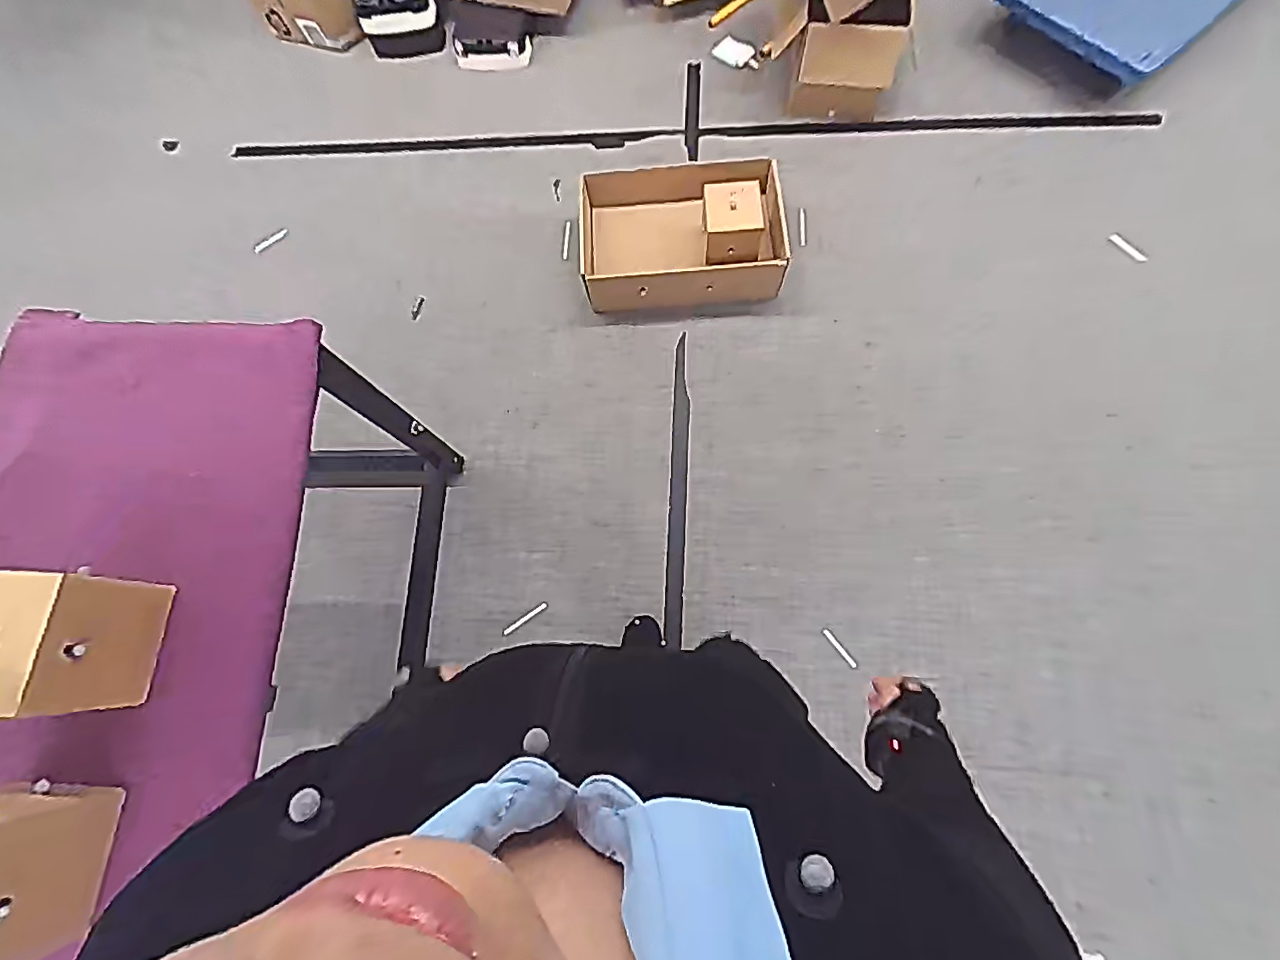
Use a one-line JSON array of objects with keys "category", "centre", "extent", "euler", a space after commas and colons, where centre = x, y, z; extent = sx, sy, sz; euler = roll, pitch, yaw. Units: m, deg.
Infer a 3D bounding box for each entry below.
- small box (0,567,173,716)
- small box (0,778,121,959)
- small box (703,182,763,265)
[{"category": "small box", "centre": [-0.814, 0.220, 0.755], "extent": [0.168, 0.176, 0.179], "euler": [2, 75, 4]}, {"category": "small box", "centre": [-0.816, 0.494, 0.674], "extent": [0.168, 0.176, 0.179], "euler": [1, 73, 4]}, {"category": "small box", "centre": [0.284, -0.786, 1.678], "extent": [0.168, 0.176, 0.179], "euler": [-2, 73, 3]}]
